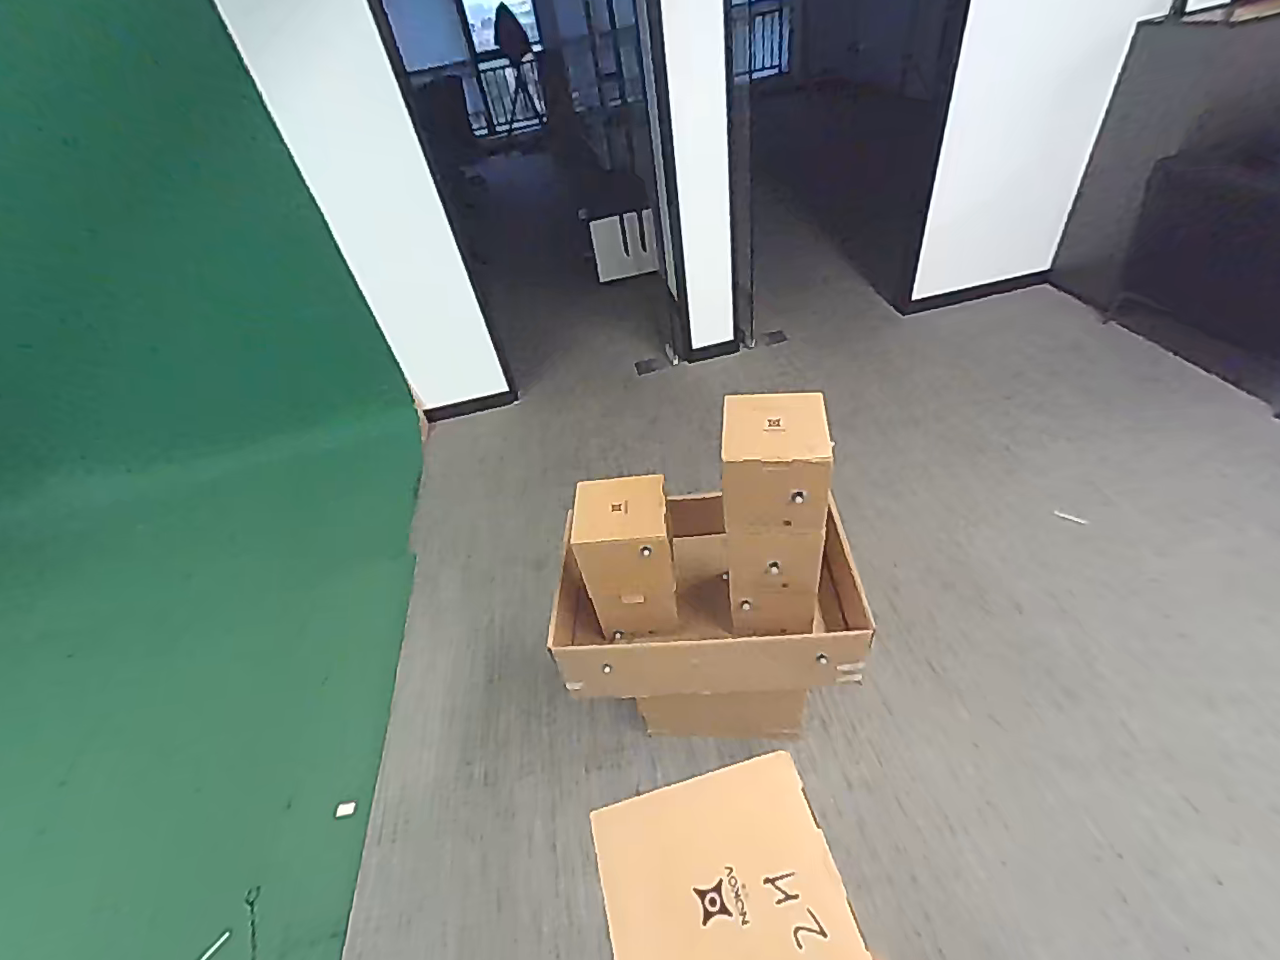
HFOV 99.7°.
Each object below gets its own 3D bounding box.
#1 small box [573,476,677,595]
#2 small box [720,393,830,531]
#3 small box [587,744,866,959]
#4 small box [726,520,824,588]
[{"bbox_3d":[-0.024,0.114,1.074,0.179,0.176,0.168,-6,43,5],"label":"small box"},{"bbox_3d":[0.227,-0.028,0.921,0.168,0.176,0.179,0,43,12],"label":"small box"},{"bbox_3d":[0.069,0.355,0.464,0.179,0.176,0.168,-16,51,-3],"label":"small box"},{"bbox_3d":[0.254,0.091,1.030,0.168,0.176,0.179,-1,44,12],"label":"small box"}]
